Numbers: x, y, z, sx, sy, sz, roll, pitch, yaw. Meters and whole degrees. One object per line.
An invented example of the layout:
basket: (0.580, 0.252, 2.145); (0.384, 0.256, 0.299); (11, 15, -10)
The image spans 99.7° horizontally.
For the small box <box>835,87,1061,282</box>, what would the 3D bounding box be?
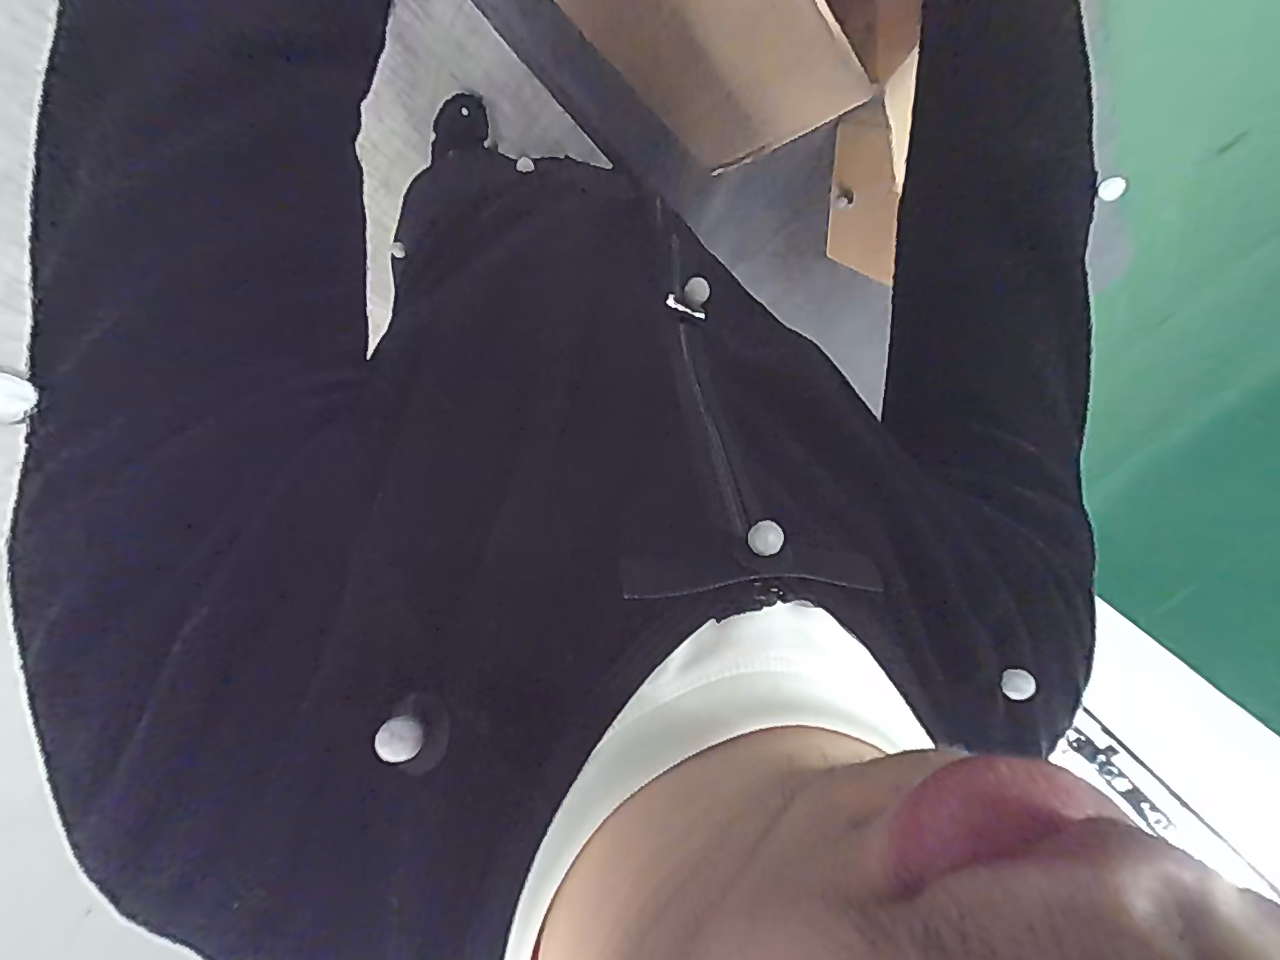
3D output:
small box: (0.374, -0.383, 0.697); (0.168, 0.176, 0.179); (-16, 132, -8)
